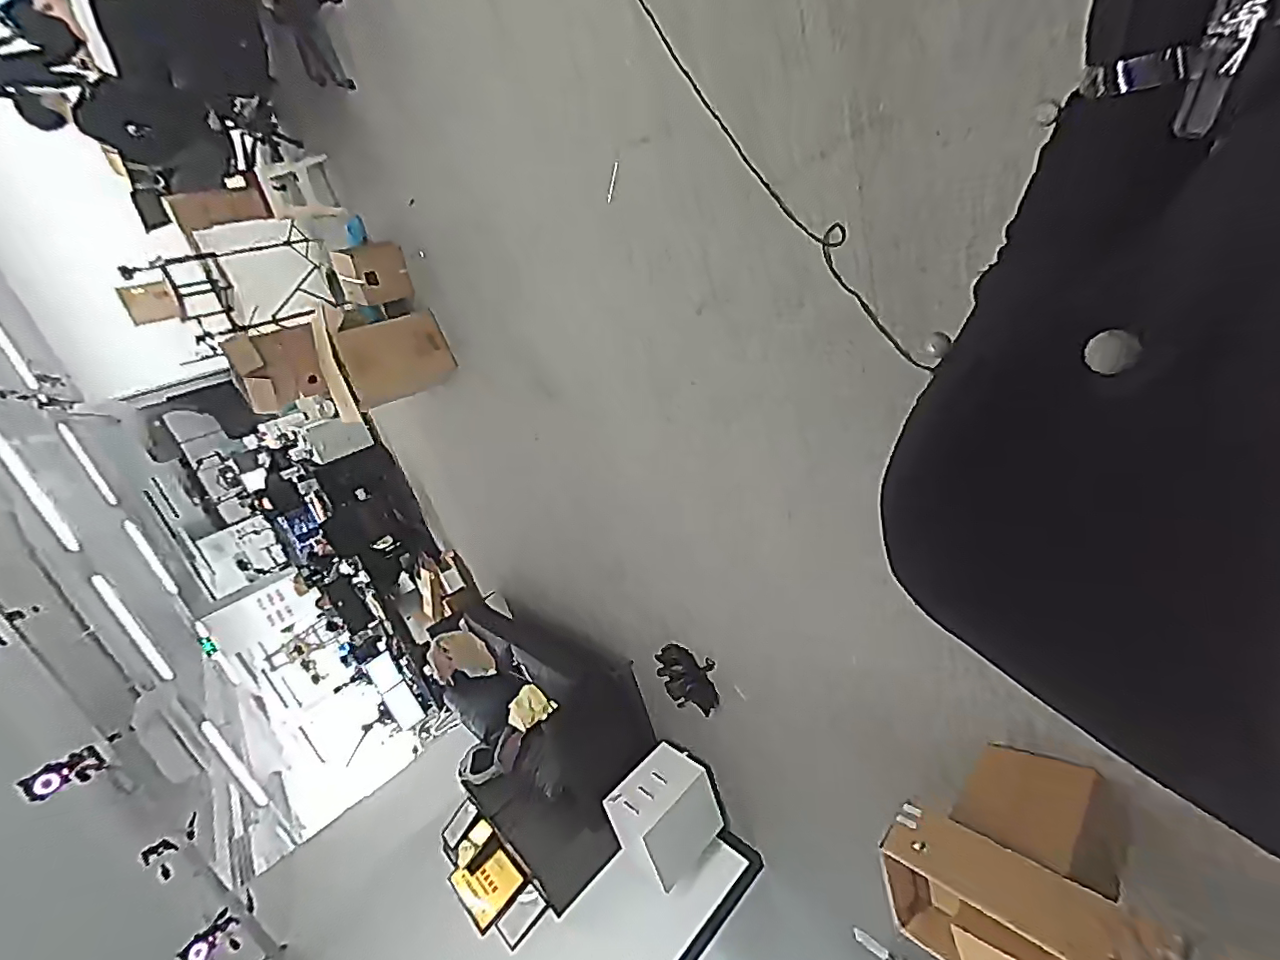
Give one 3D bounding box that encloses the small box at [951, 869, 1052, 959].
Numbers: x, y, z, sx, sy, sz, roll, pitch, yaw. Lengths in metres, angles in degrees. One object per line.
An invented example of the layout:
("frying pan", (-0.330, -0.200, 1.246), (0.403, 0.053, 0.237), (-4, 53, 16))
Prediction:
("small box", (0.951, 1.186, 1.417), (0.168, 0.176, 0.179), (-3, 113, 51))
